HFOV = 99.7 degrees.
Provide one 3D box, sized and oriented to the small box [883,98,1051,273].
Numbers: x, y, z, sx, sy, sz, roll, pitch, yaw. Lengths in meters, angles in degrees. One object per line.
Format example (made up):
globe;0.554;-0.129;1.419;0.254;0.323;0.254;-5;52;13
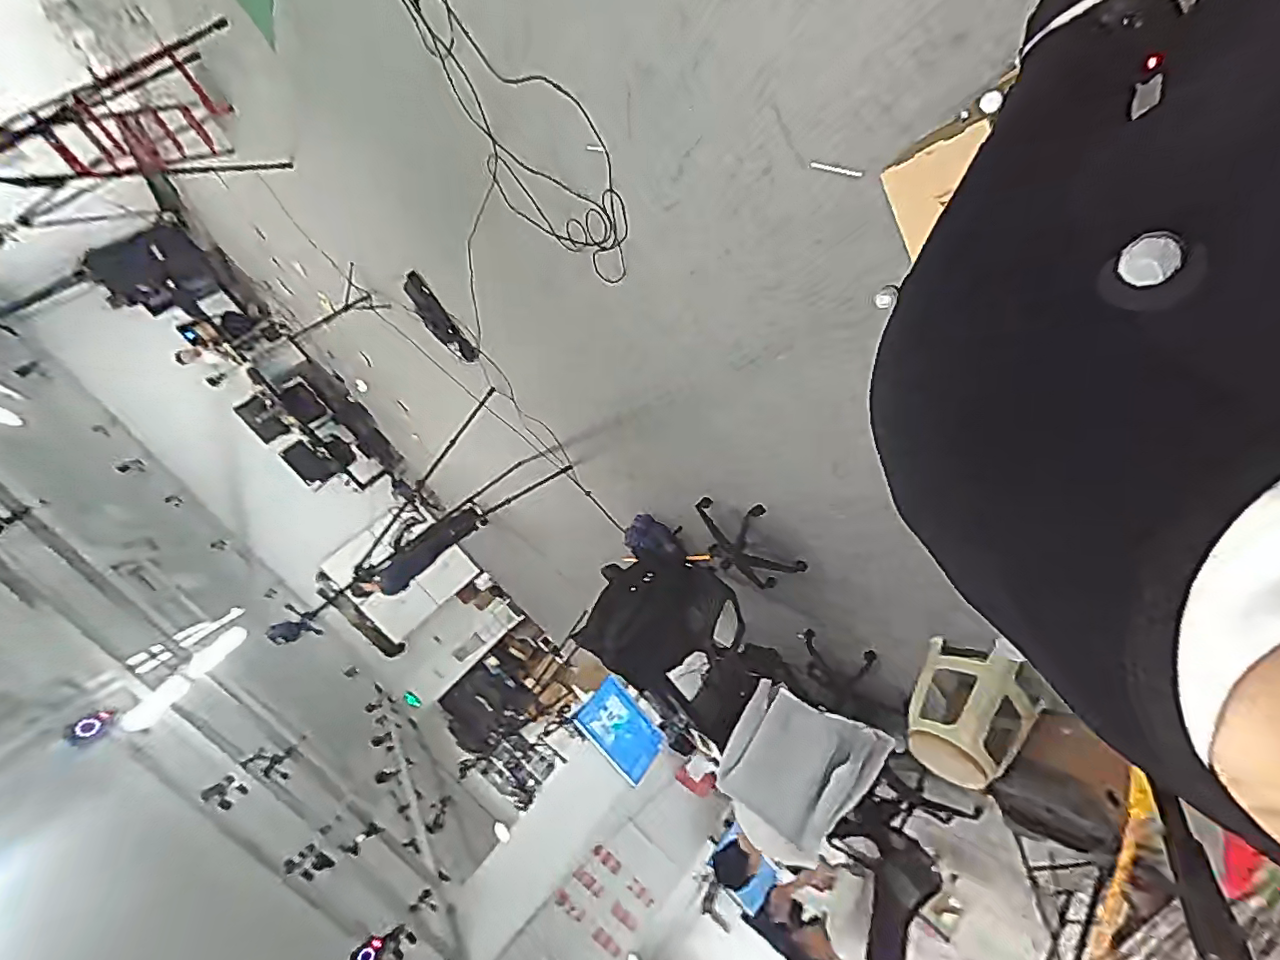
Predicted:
small box;0.542;-0.479;0.890;0.168;0.176;0.179;0;127;56

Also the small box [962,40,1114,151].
small box;0.755;-0.687;1.025;0.179;0.176;0.168;55;152;-15

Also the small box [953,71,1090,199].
small box;0.652;-0.578;0.956;0.179;0.176;0.168;54;153;-16
